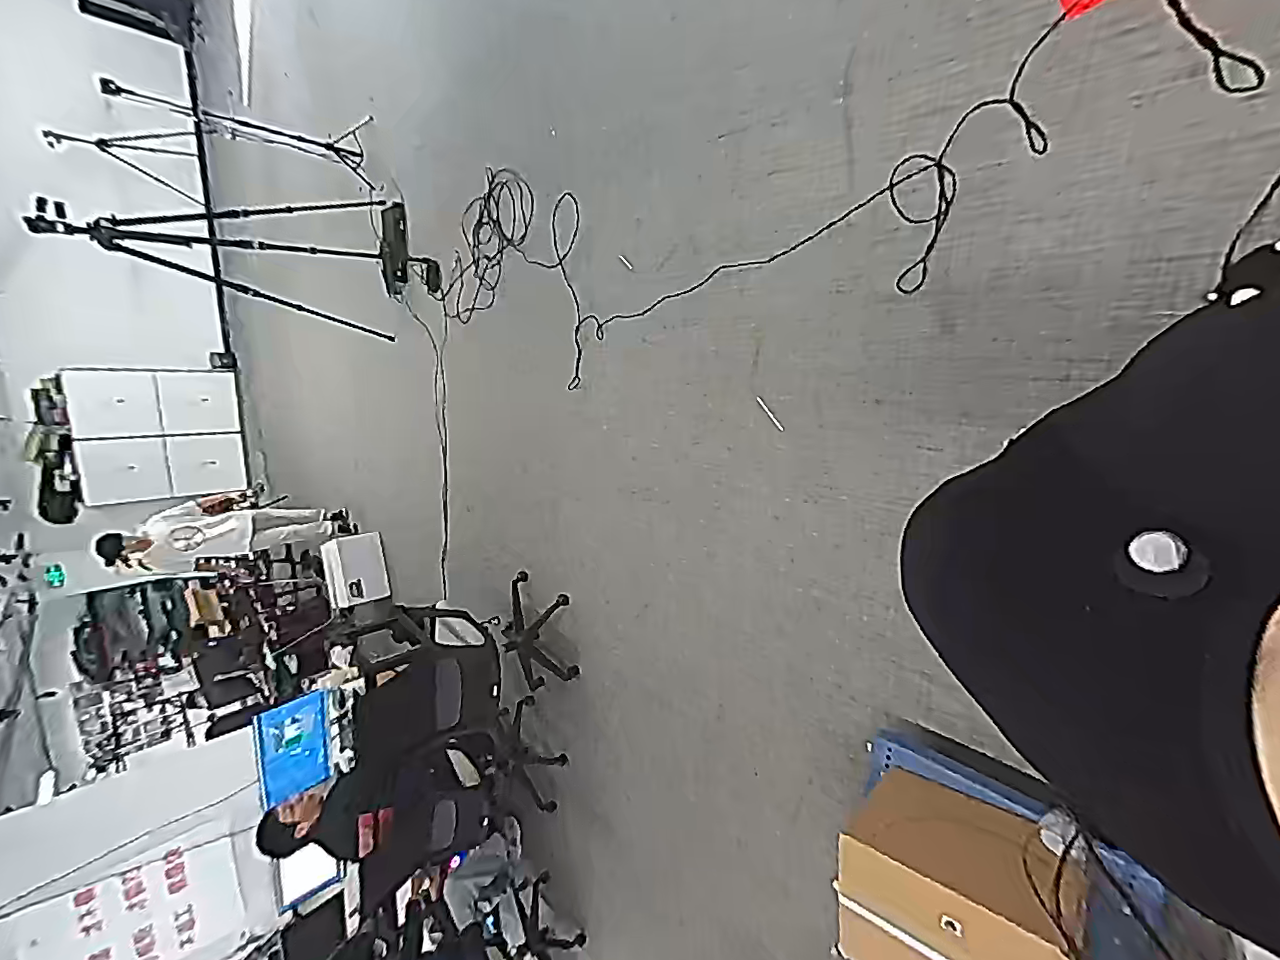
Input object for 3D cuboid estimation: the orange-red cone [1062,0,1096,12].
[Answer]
[{"bbox_3d":[0.814,-1.049,0.936,0.198,0.360,0.199,-13,87,45],"label":"orange-red cone"}]
